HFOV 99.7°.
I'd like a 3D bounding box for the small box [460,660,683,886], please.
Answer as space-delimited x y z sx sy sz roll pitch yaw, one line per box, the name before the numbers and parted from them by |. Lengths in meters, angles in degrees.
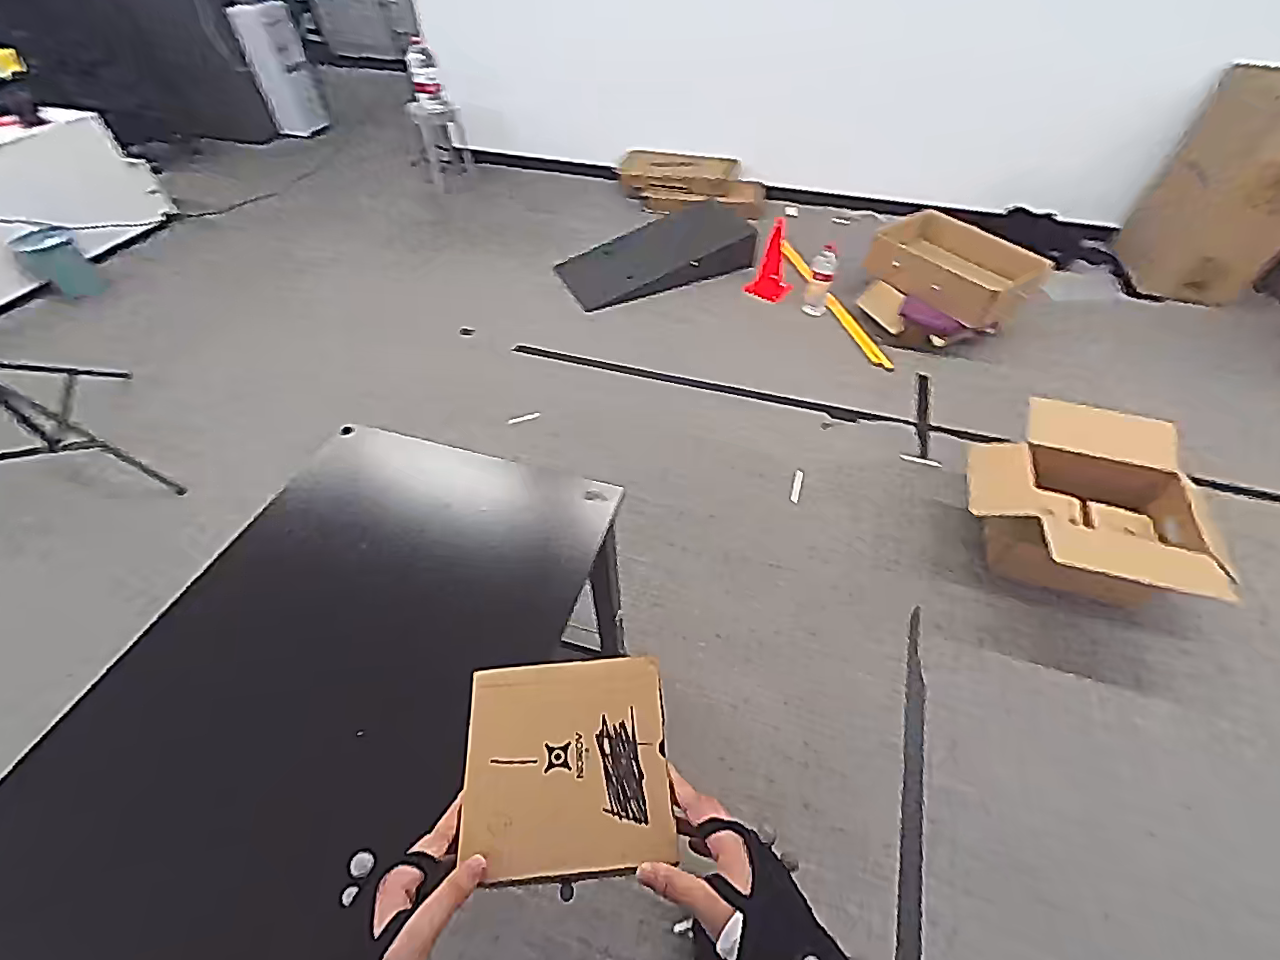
small box | -0.058 0.289 0.530 0.179 0.176 0.168 -4 53 -2
